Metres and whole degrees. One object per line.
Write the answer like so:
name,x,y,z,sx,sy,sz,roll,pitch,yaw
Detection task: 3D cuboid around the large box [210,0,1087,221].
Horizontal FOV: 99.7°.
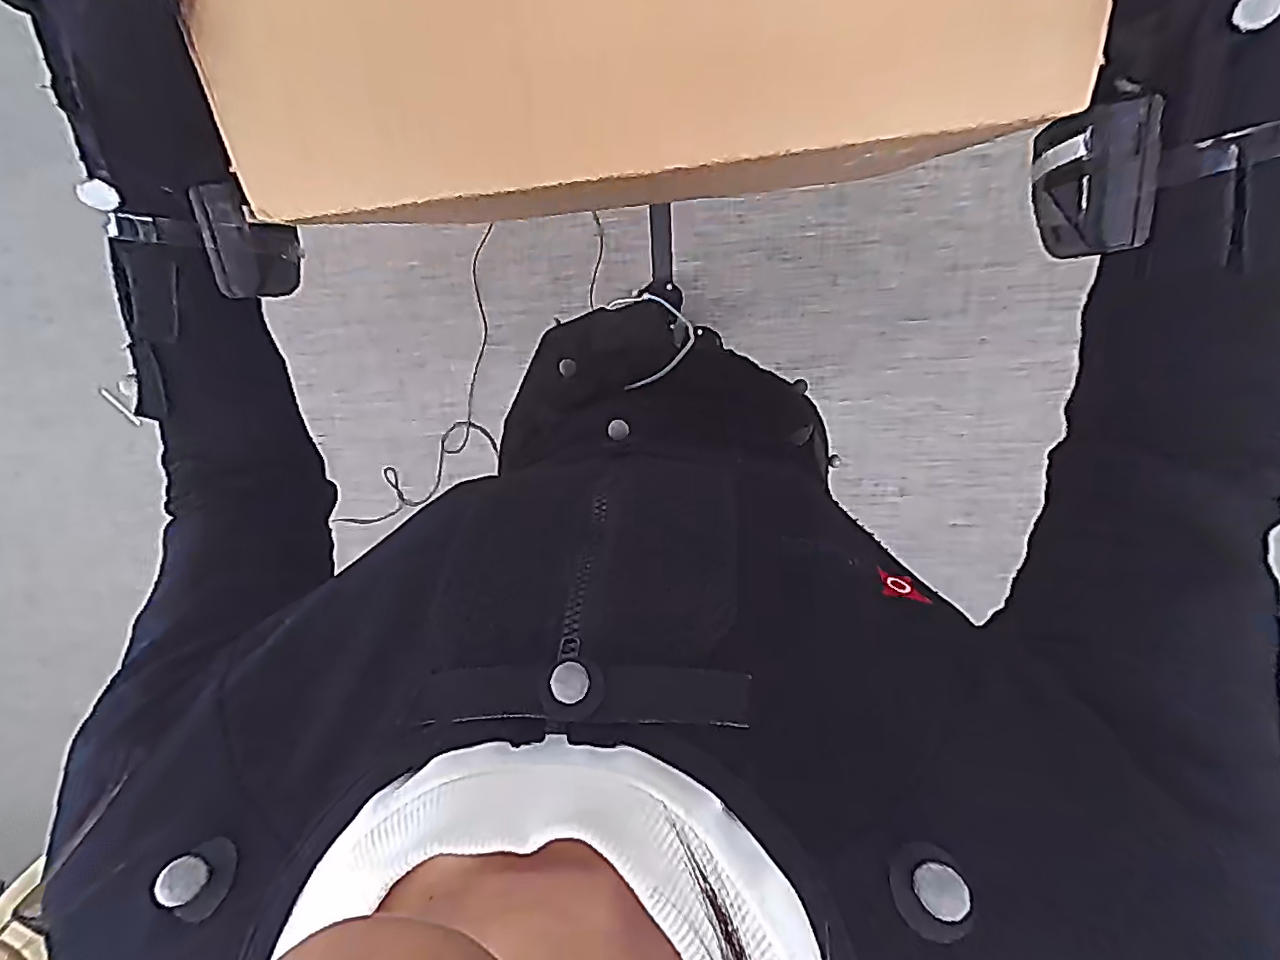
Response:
large box,-0.005,-0.362,0.345,0.408,0.320,0.320,-3,115,9
